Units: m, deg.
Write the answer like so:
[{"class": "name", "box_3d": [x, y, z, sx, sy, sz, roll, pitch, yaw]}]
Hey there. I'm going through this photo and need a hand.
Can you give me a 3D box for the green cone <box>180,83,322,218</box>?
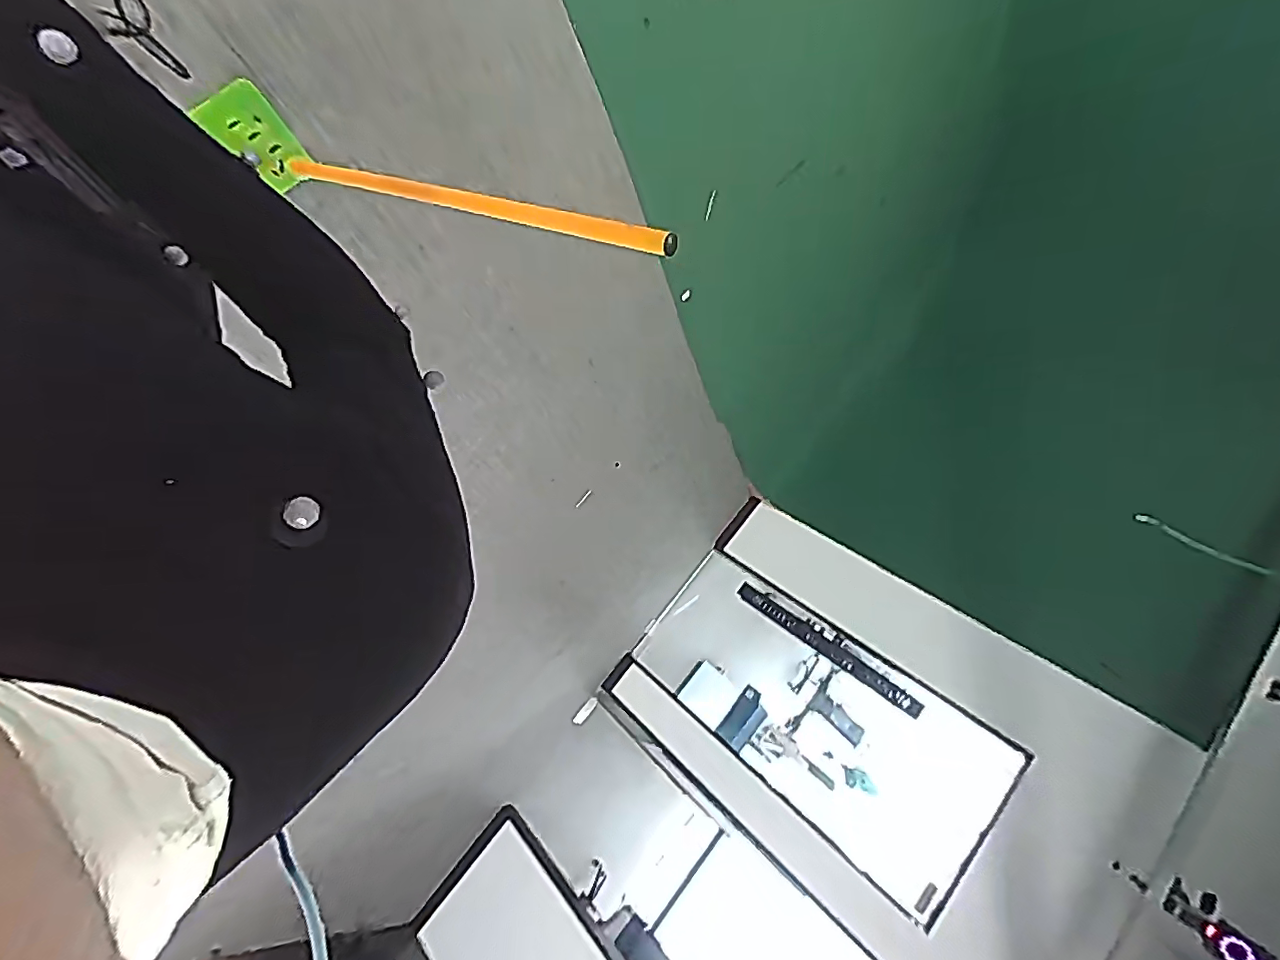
[{"class": "green cone", "box_3d": [-0.725, -0.645, 1.087, 0.200, 0.368, 0.202, -49, 143, -13]}]
